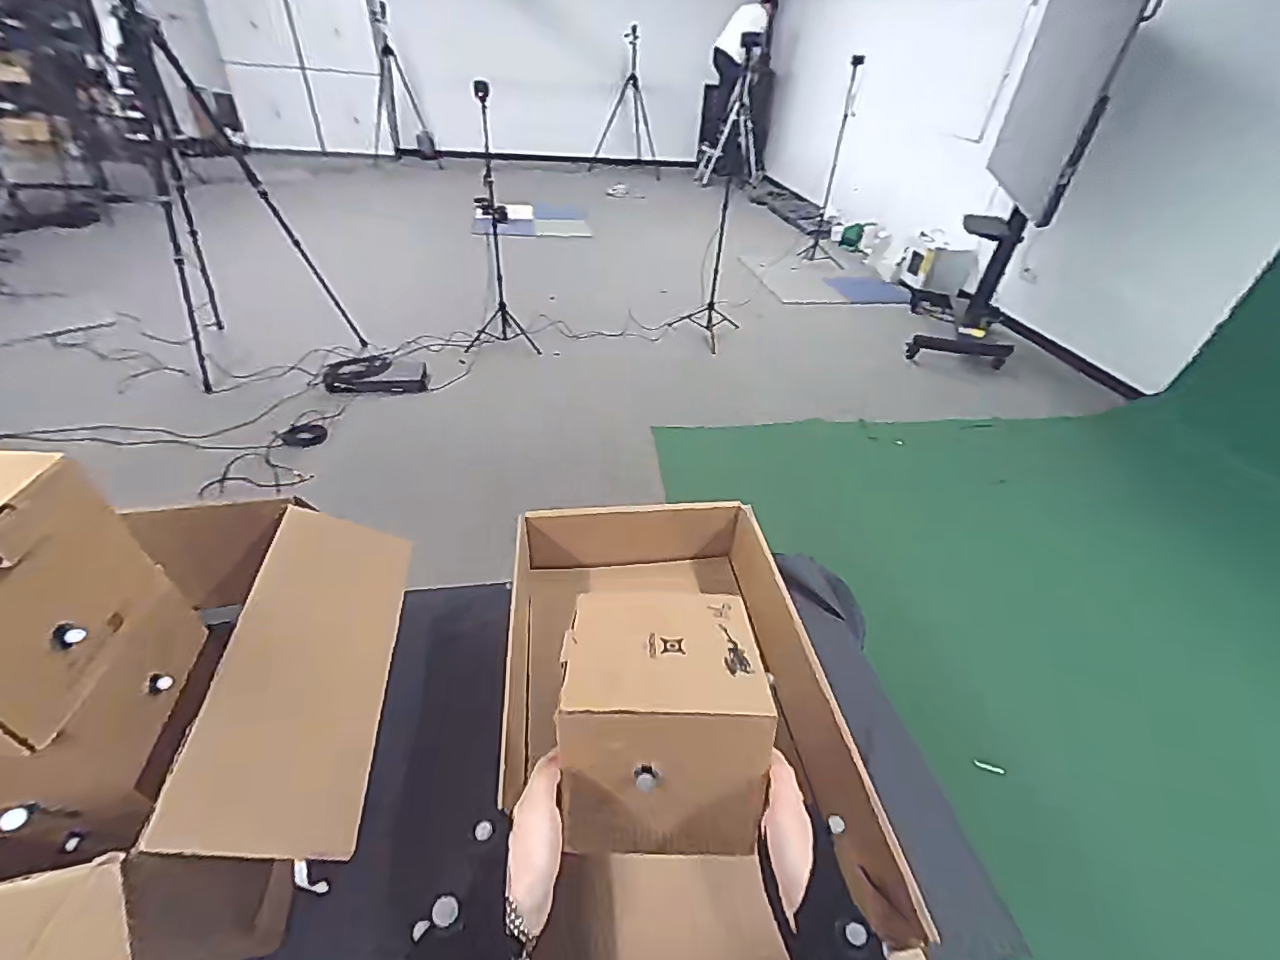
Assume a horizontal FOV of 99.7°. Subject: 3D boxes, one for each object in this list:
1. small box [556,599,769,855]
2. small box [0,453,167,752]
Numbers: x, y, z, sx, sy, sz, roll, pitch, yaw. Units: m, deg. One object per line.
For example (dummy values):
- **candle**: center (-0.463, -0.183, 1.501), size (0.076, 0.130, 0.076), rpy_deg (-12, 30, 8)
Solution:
- **small box**: center (0.017, 0.235, 0.533), size (0.179, 0.176, 0.168), rpy_deg (1, 22, -1)
- **small box**: center (-0.536, 0.094, 0.415), size (0.179, 0.176, 0.168), rpy_deg (1, 40, -6)
